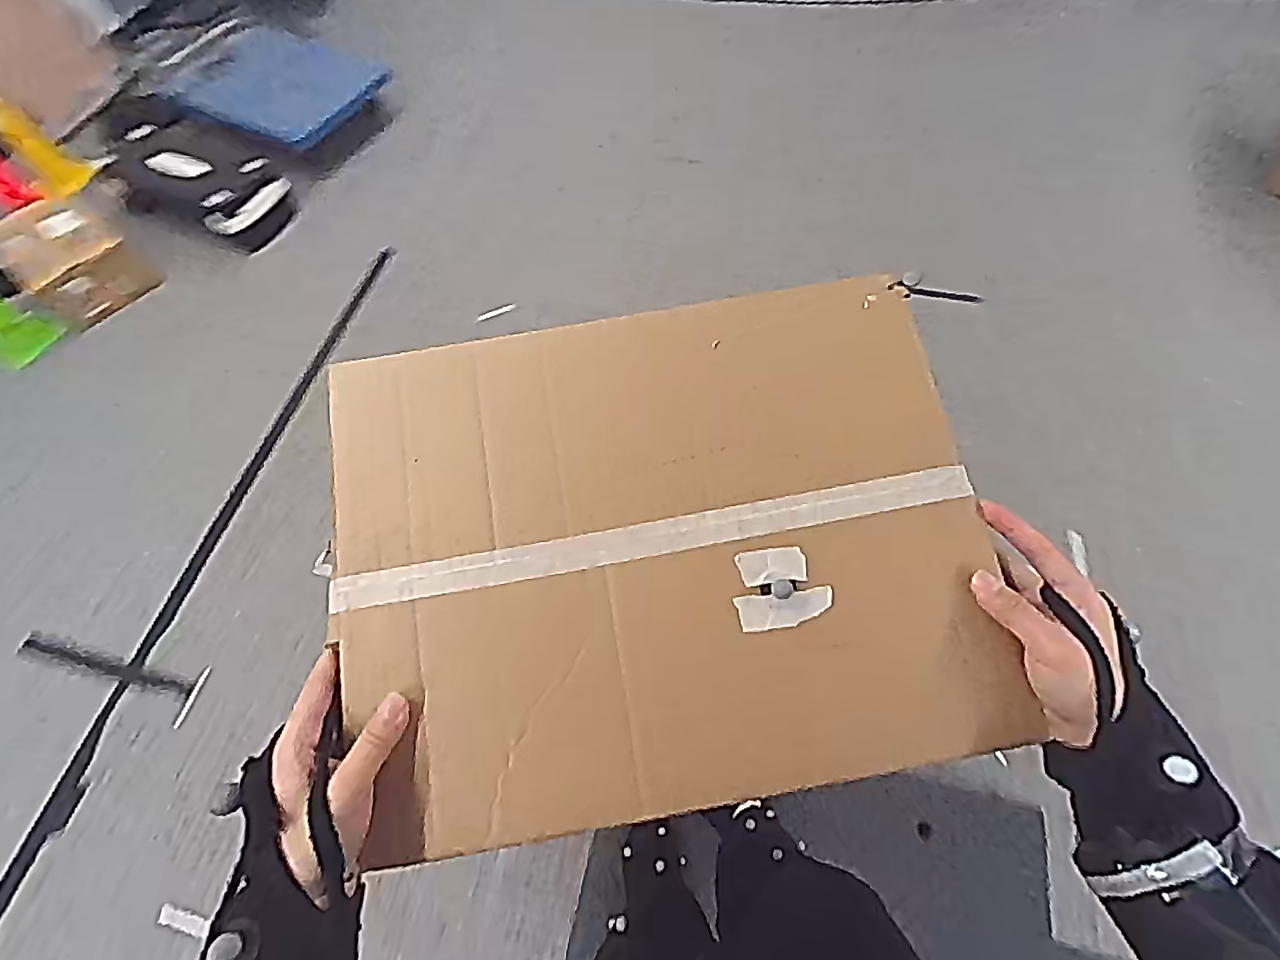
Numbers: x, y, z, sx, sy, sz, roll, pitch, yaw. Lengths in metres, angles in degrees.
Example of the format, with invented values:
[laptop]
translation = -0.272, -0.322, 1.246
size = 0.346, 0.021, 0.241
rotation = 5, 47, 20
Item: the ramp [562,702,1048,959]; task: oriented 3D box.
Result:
[ramp]
translation = 0.381, 0.833, 1.124
size = 0.991, 0.206, 0.509
rotation = 10, 63, 6
